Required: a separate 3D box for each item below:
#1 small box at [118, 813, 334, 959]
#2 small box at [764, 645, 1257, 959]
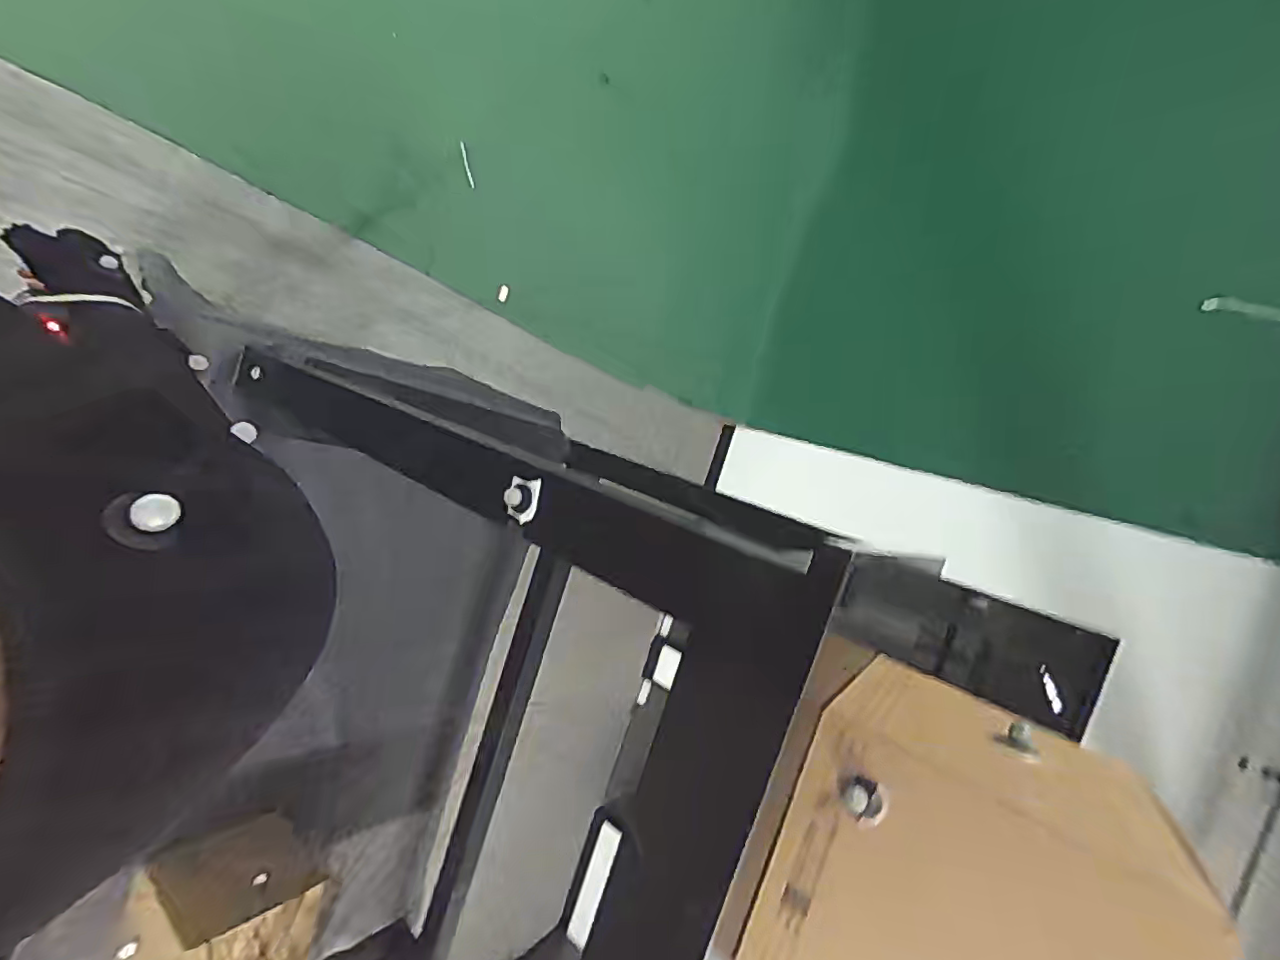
[{"bbox_3d":[-0.576,0.614,0.757,0.179,0.176,0.168,12,96,-58],"label":"small box"},{"bbox_3d":[0.195,0.221,0.327,0.179,0.176,0.168,11,98,-58],"label":"small box"}]
